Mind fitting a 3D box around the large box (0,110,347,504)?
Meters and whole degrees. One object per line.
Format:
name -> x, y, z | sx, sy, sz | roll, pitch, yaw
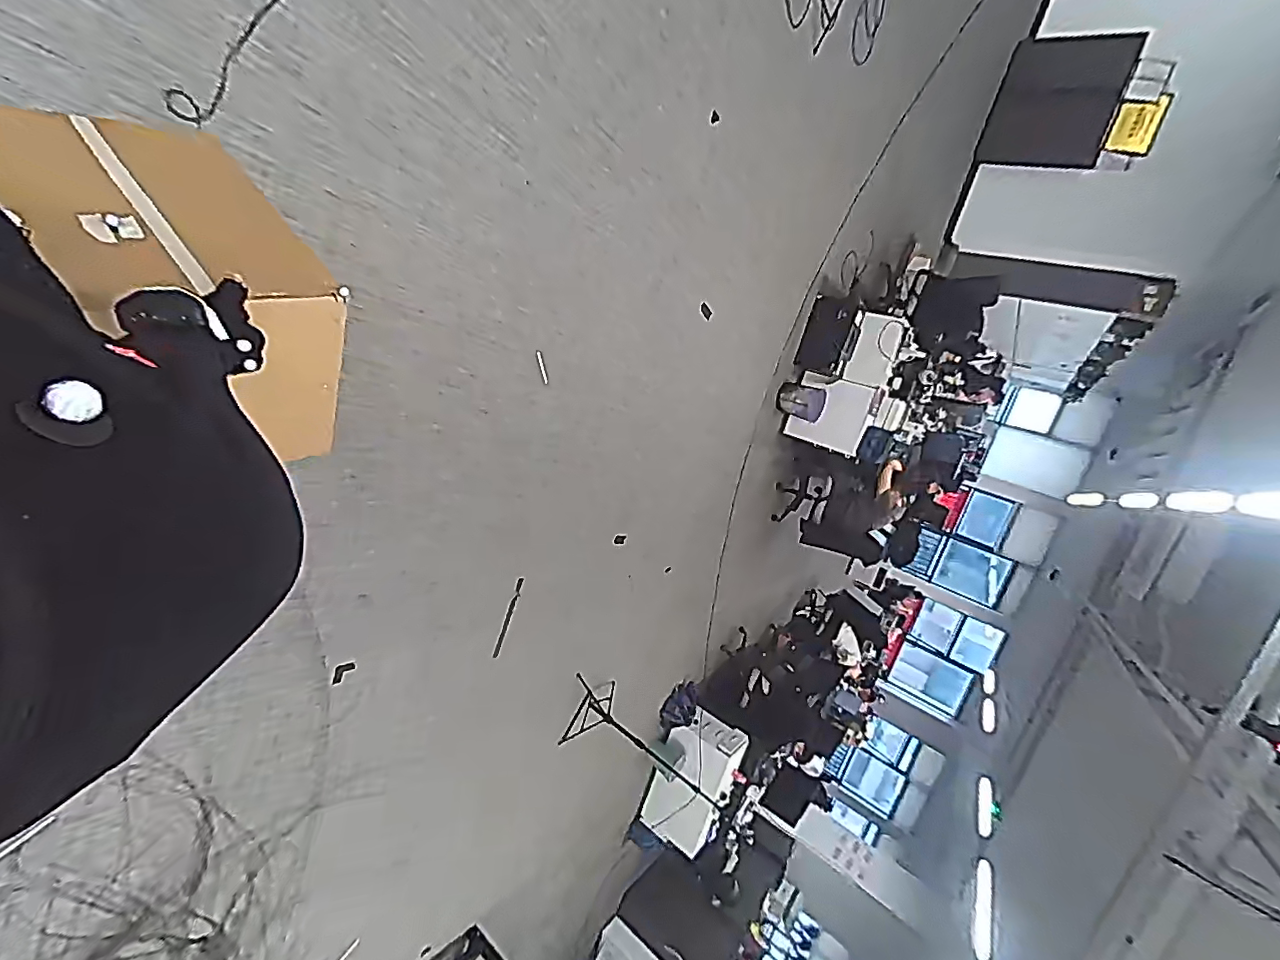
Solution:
large box -> -0.690, -0.244, 0.771 | 0.320, 0.408, 0.320 | -28, 160, -46
